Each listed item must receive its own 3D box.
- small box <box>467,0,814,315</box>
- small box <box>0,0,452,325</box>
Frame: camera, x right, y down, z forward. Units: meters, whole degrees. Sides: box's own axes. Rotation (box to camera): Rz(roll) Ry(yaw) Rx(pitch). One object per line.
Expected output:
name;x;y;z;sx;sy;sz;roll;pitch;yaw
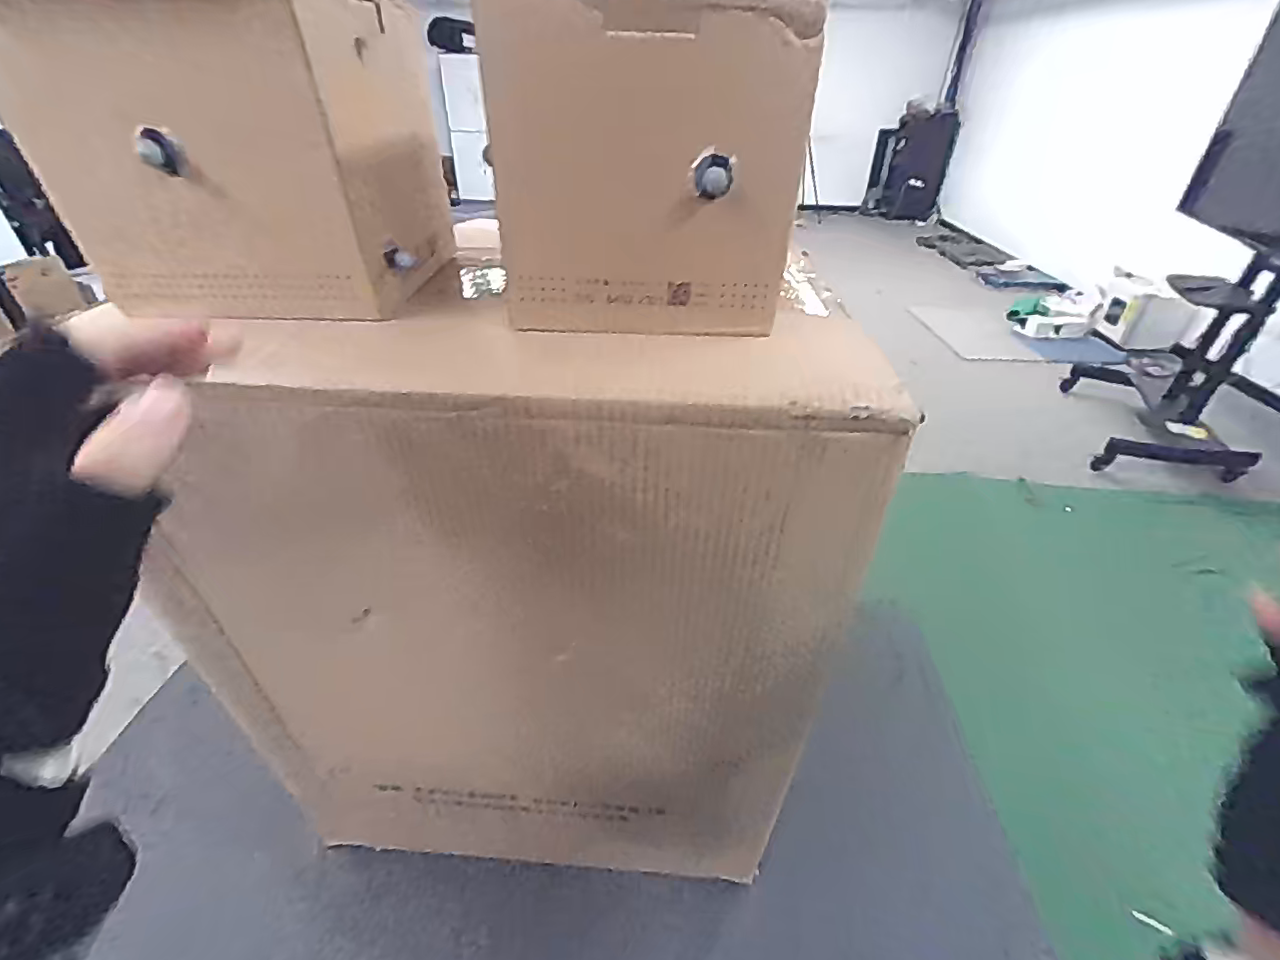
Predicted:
small box;0.000;-0.219;0.355;0.168;0.176;0.179;-1;39;-3
small box;-0.249;-0.215;0.373;0.179;0.176;0.168;0;38;2
